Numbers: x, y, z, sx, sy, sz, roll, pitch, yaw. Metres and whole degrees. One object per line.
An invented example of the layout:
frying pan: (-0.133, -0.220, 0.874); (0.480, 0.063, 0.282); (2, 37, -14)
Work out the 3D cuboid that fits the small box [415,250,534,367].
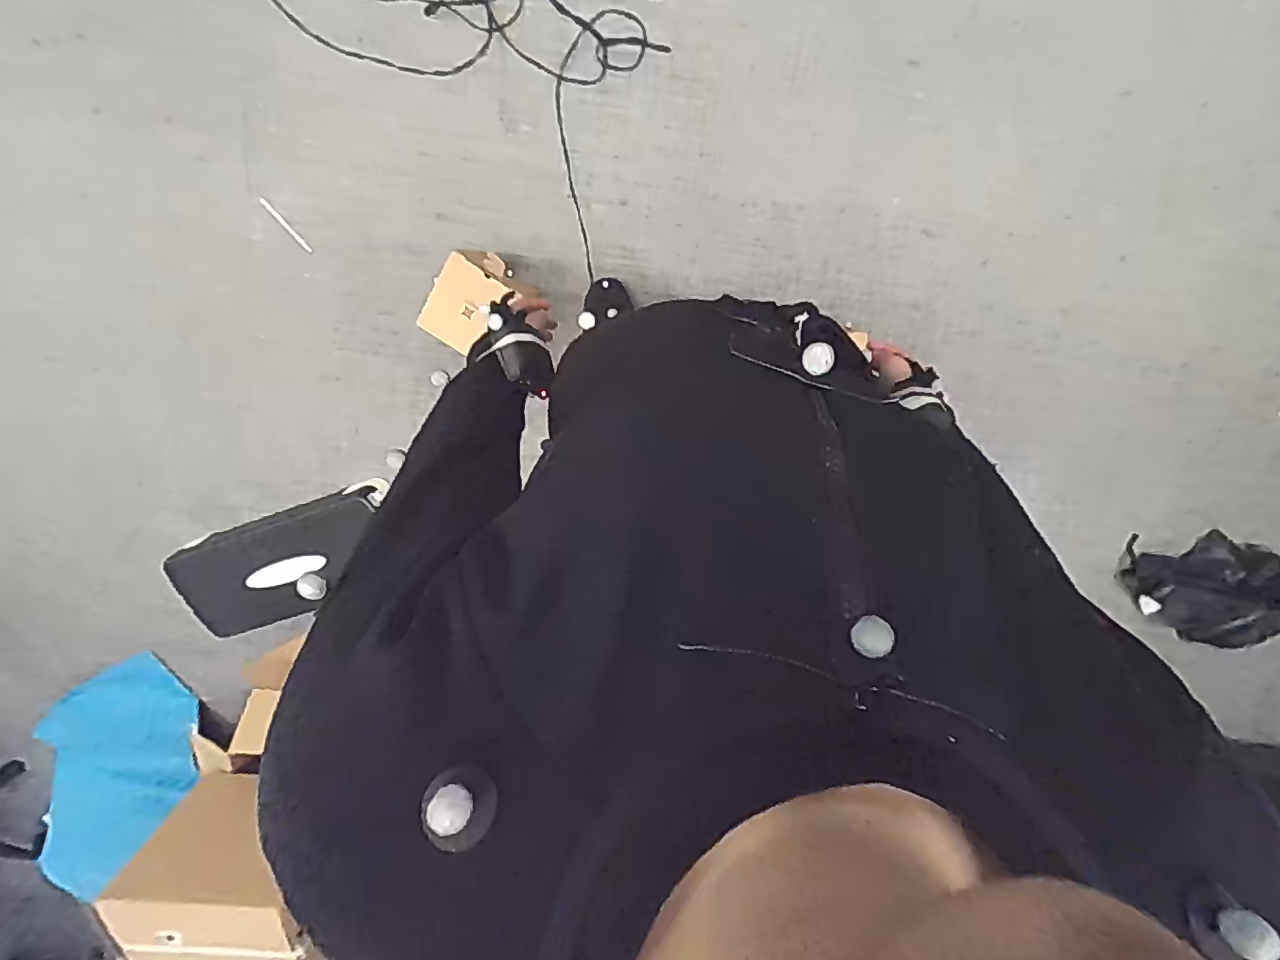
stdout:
small box: (-0.352, -0.376, 1.184); (0.168, 0.176, 0.179); (32, 109, -10)
